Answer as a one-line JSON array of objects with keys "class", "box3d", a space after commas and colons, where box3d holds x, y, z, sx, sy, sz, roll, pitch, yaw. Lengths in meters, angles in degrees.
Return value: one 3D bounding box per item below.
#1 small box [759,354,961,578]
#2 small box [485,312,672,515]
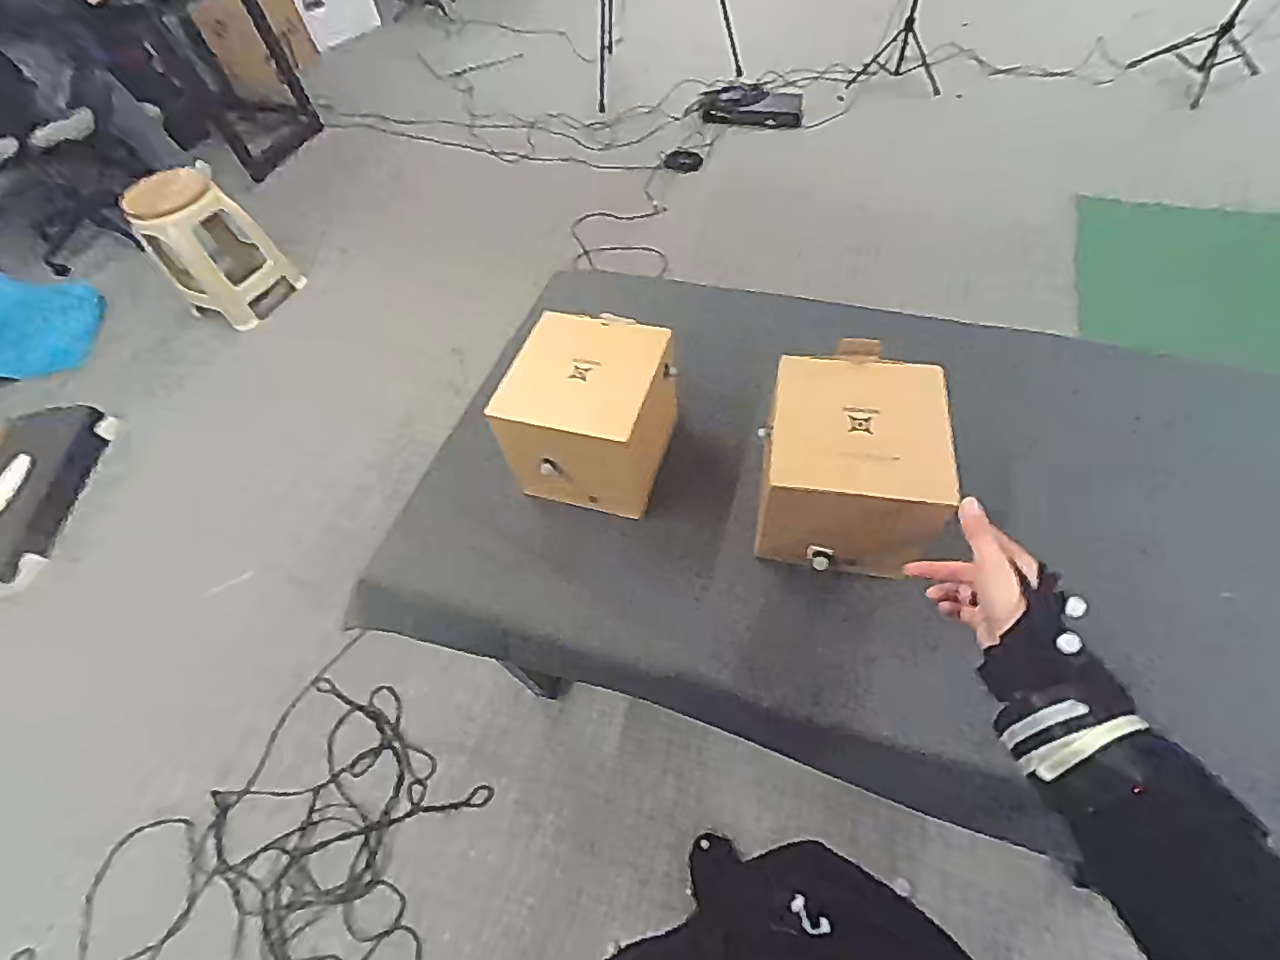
[{"class": "small box", "box3d": [0.224, -0.014, 0.596, 0.168, 0.176, 0.179, 6, 57, 11]}, {"class": "small box", "box3d": [-0.058, -0.078, 0.670, 0.168, 0.176, 0.179, 12, 57, 14]}]
